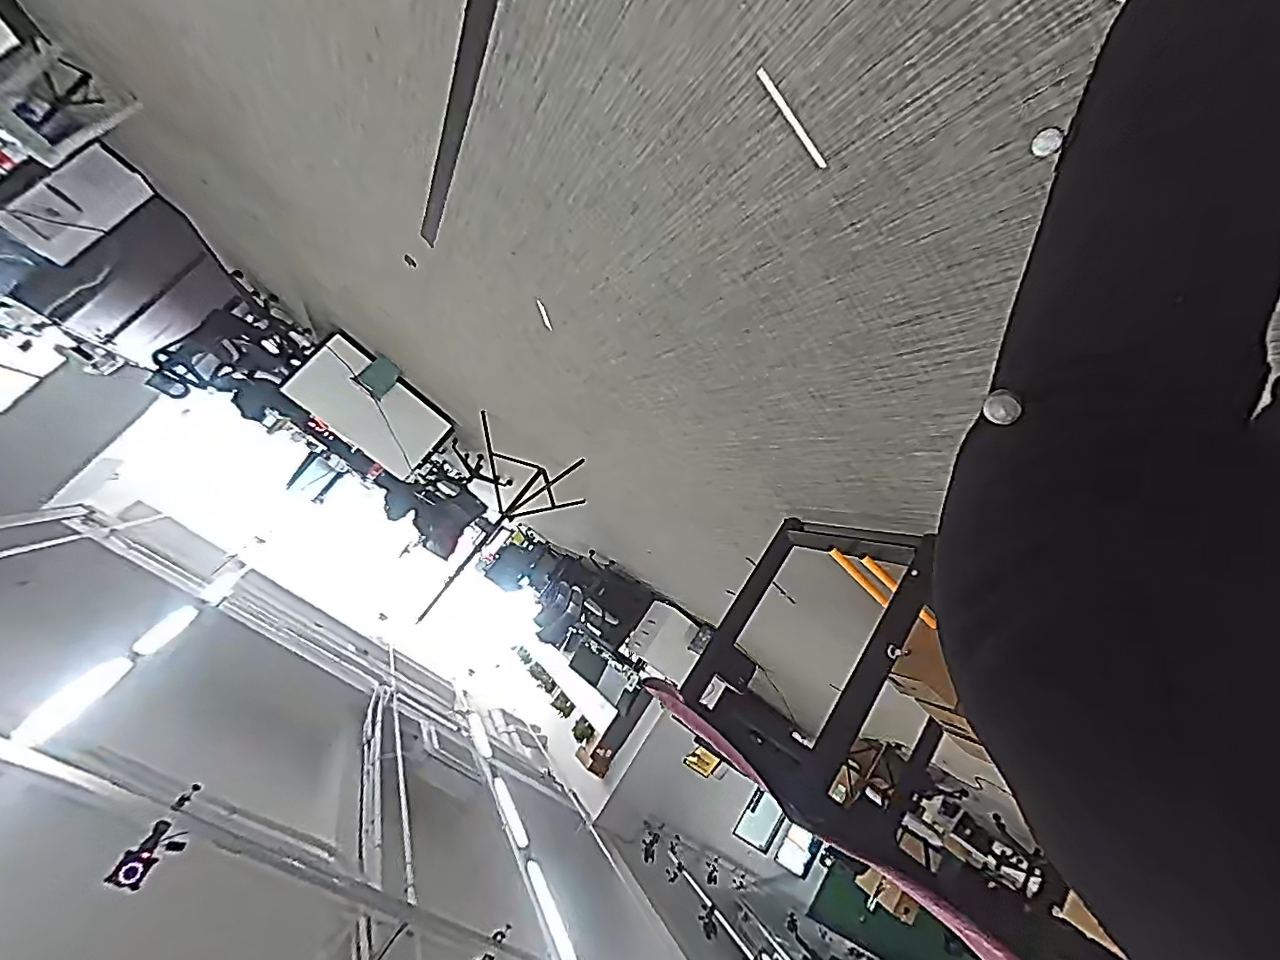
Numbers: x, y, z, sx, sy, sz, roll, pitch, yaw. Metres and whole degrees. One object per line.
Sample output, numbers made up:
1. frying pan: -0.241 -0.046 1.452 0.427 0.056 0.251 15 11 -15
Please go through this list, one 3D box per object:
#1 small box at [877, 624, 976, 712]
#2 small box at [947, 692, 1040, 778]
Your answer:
1. small box: 0.851 0.548 1.603 0.168 0.176 0.179 40 161 -19
2. small box: 1.147 0.815 1.752 0.168 0.176 0.179 42 161 -21
